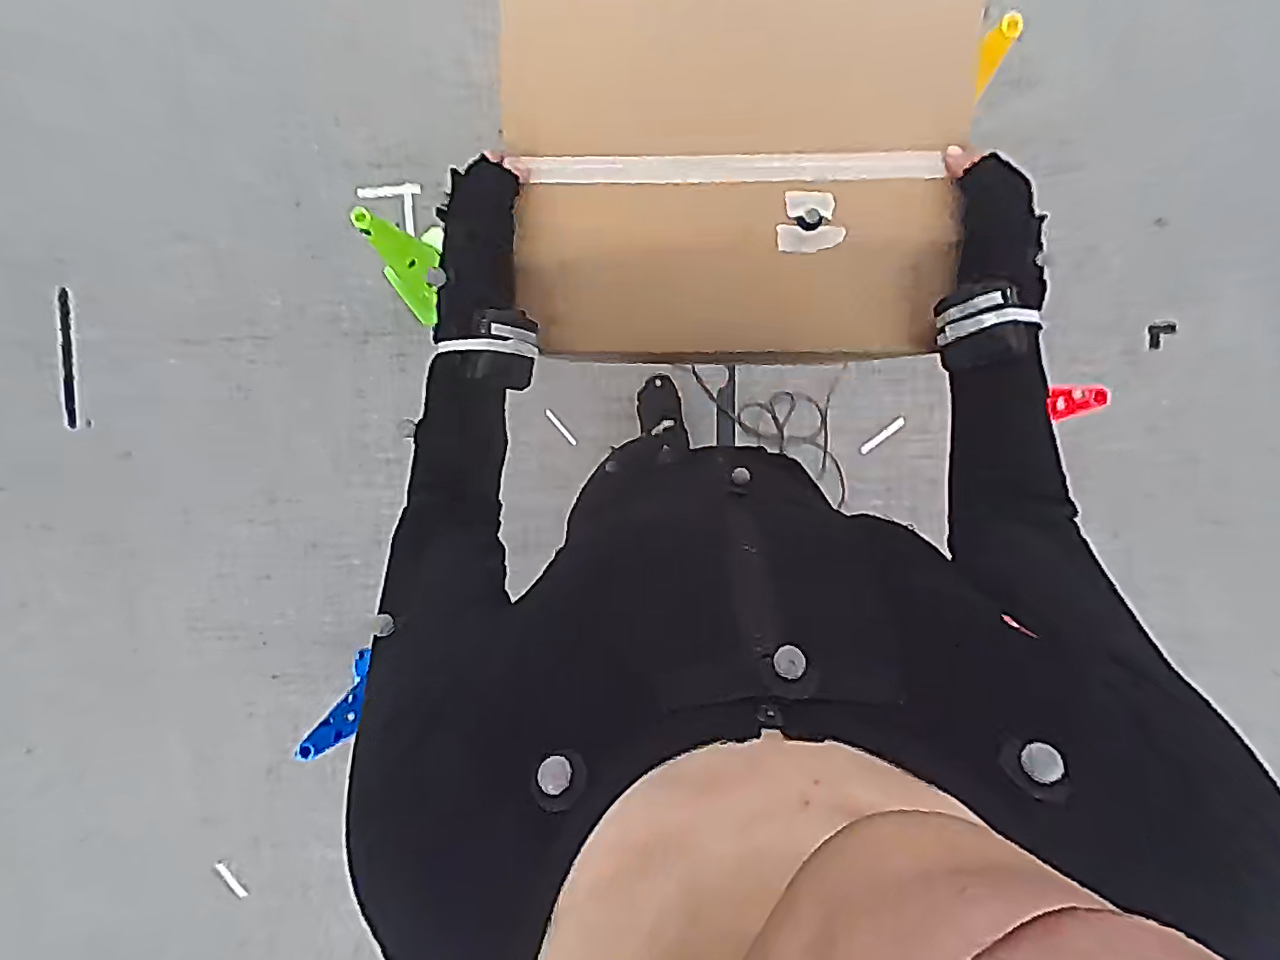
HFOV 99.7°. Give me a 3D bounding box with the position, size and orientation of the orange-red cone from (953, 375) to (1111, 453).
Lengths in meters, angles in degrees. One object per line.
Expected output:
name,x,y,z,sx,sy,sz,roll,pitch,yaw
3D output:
orange-red cone,0.918,-0.172,1.245,0.198,0.360,0.199,-4,90,1

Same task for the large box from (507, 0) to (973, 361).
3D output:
large box,0.085,-0.306,0.627,0.408,0.320,0.320,0,100,1

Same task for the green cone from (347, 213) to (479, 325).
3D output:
green cone,-0.573,-0.544,1.294,0.202,0.368,0.200,-39,89,4
